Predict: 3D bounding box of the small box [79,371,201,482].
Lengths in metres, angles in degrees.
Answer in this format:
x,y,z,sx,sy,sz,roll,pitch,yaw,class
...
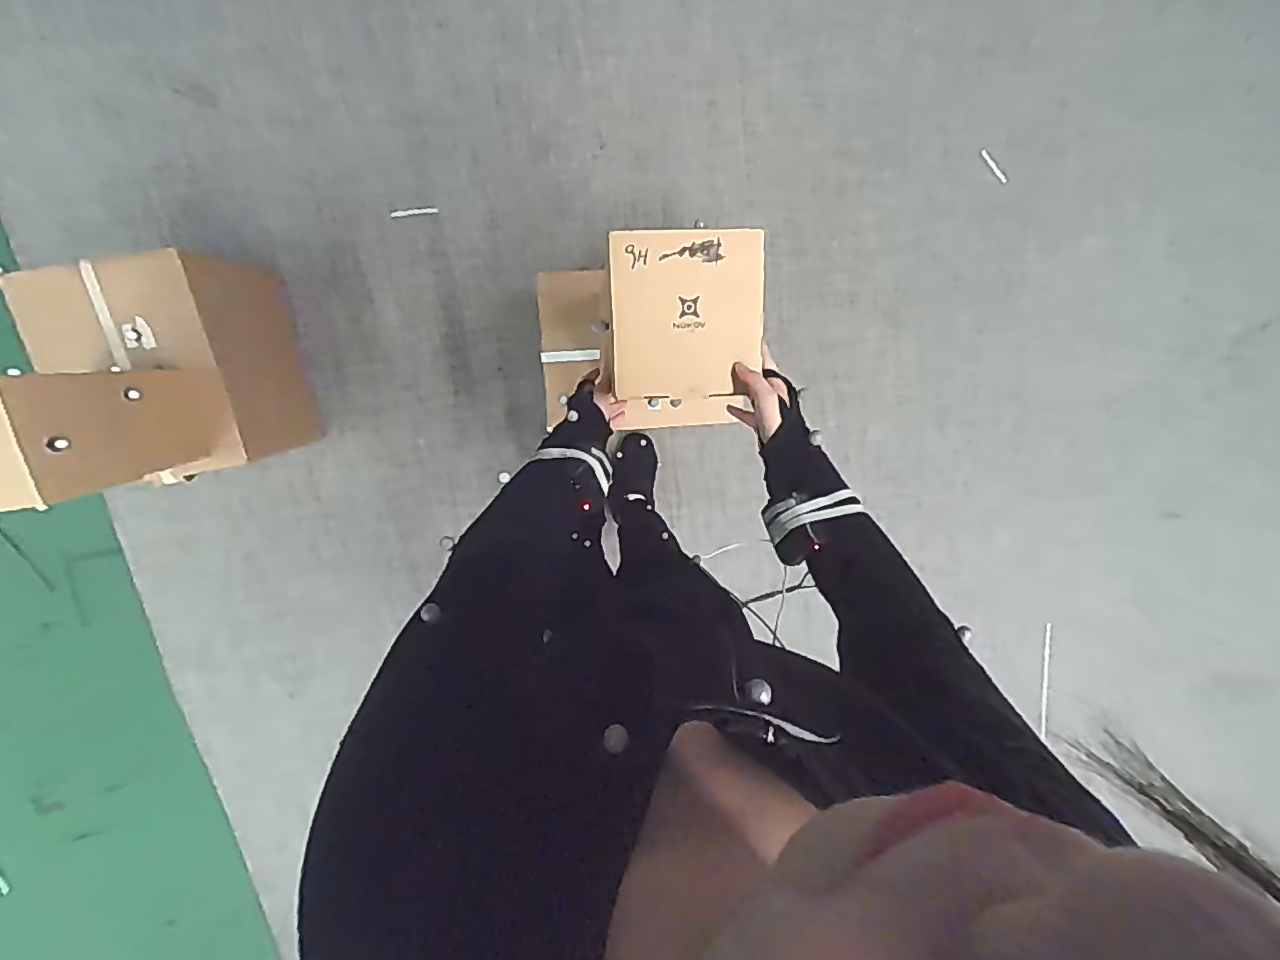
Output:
x,y,z,sx,sy,sz,roll,pitch,yaw,class
-0.909,-0.089,0.929,0.168,0.176,0.179,-8,102,-4,small box

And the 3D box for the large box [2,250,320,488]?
x,y,z,sx,sy,sz,roll,pitch,yaw,class
-0.955,-0.224,1.145,0.320,0.320,0.408,-10,102,-3,large box

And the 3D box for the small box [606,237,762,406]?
x,y,z,sx,sy,sz,roll,pitch,yaw,class
0.043,-0.187,0.661,0.168,0.176,0.179,-2,103,-4,small box

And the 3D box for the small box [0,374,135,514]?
x,y,z,sx,sy,sz,roll,pitch,yaw,class
-0.885,-0.053,0.769,0.168,0.176,0.179,-8,102,-4,small box
